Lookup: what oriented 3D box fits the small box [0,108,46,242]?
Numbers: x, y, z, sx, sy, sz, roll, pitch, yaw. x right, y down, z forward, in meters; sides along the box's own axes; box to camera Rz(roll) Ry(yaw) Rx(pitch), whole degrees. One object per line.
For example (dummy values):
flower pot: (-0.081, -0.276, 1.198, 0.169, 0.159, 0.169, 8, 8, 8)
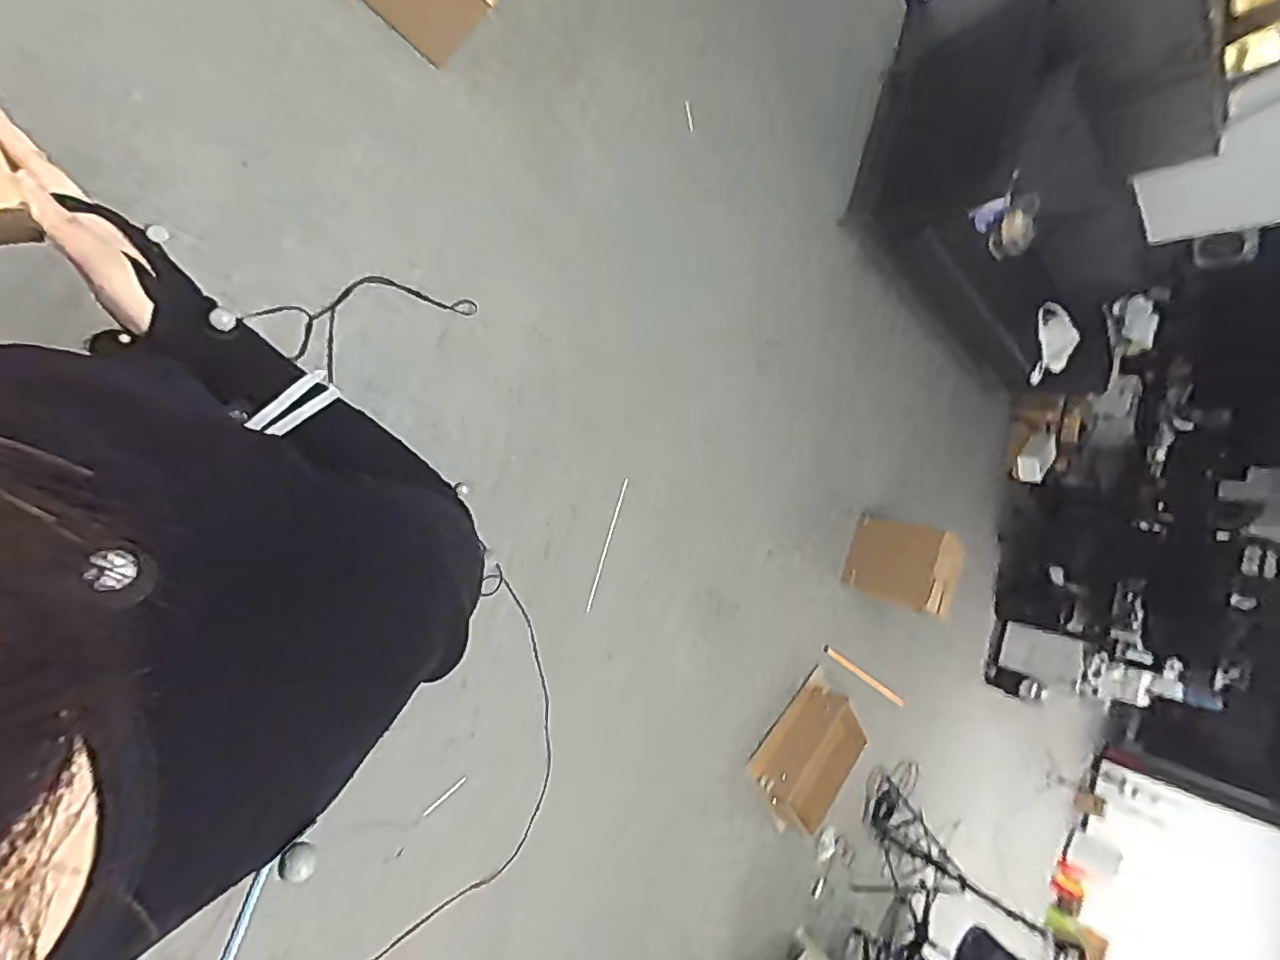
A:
small box: (-0.425, -0.196, 0.241, 0.179, 0.176, 0.168, -27, 120, -37)
